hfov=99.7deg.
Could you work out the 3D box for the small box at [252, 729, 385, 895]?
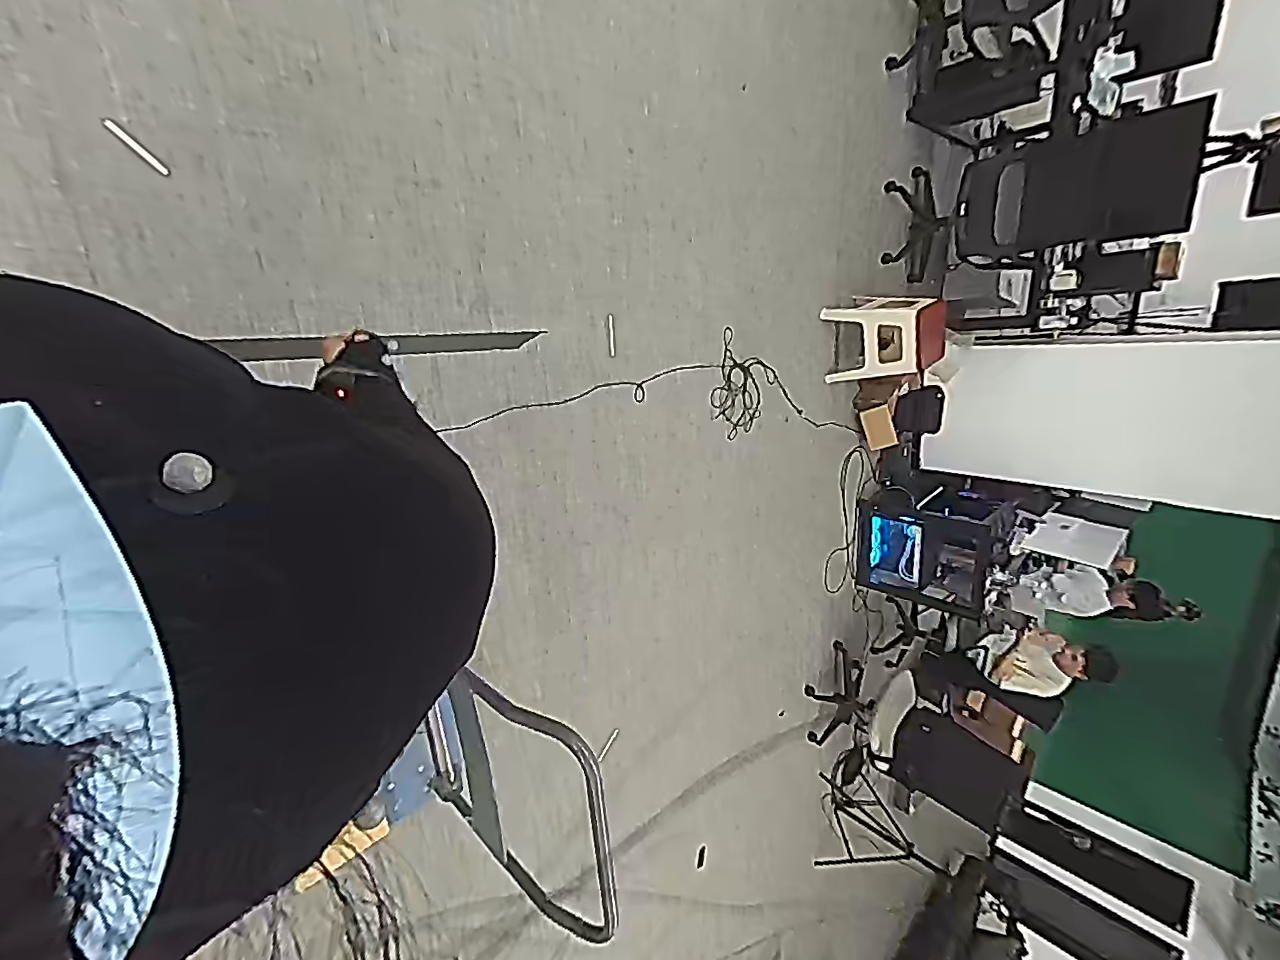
[{"bbox_3d":[-0.623,0.629,1.048,0.168,0.176,0.179,-21,112,-38],"label":"small box"}]
